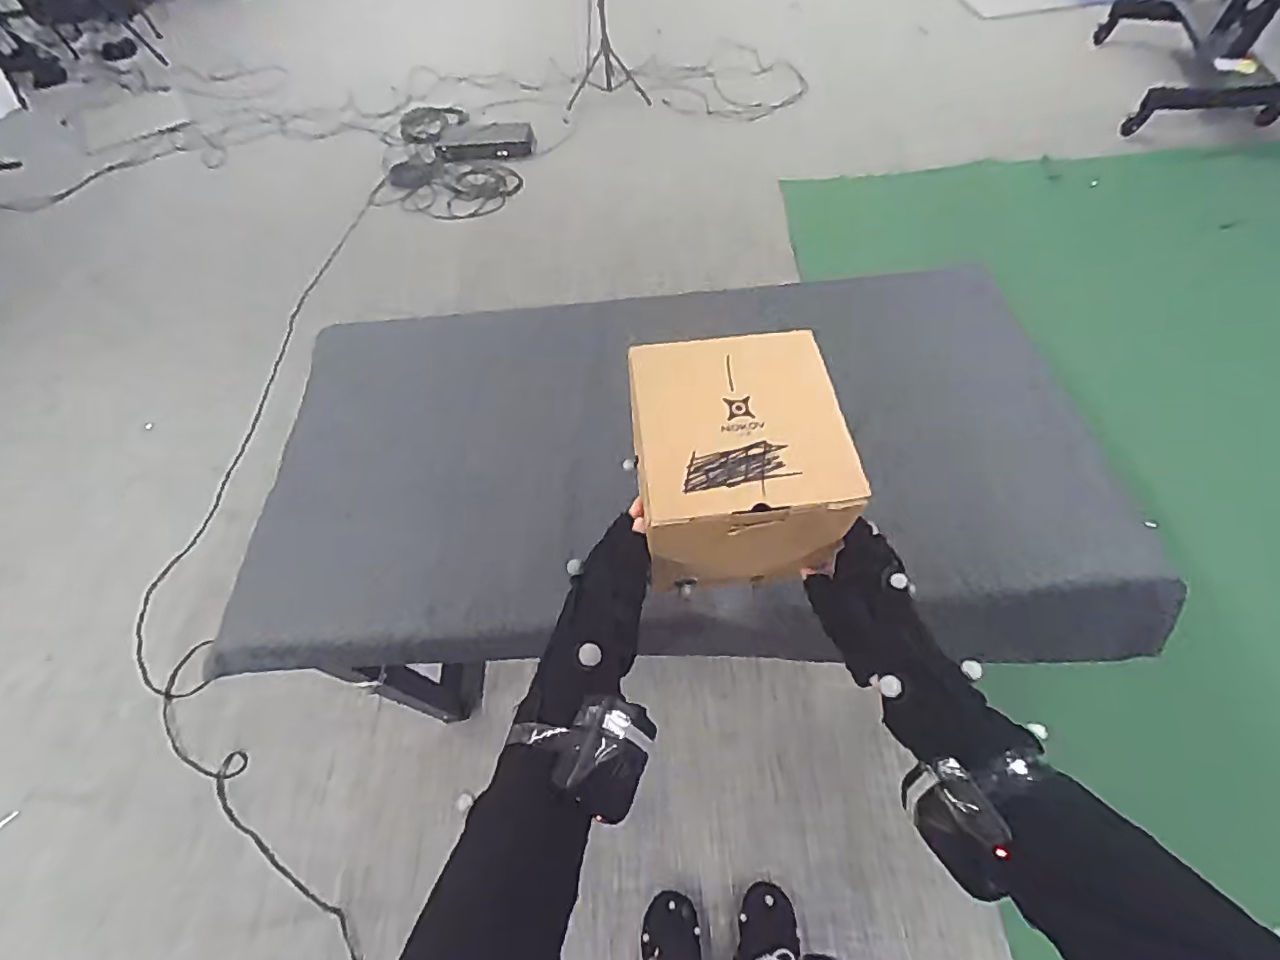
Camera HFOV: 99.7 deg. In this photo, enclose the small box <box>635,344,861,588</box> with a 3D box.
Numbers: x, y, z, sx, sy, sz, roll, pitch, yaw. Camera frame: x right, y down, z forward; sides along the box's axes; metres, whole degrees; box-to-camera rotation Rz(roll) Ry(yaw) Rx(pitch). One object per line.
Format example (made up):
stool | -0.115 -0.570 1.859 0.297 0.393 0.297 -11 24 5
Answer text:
small box | 0.085 -0.003 0.519 0.168 0.176 0.179 -4 59 -1
